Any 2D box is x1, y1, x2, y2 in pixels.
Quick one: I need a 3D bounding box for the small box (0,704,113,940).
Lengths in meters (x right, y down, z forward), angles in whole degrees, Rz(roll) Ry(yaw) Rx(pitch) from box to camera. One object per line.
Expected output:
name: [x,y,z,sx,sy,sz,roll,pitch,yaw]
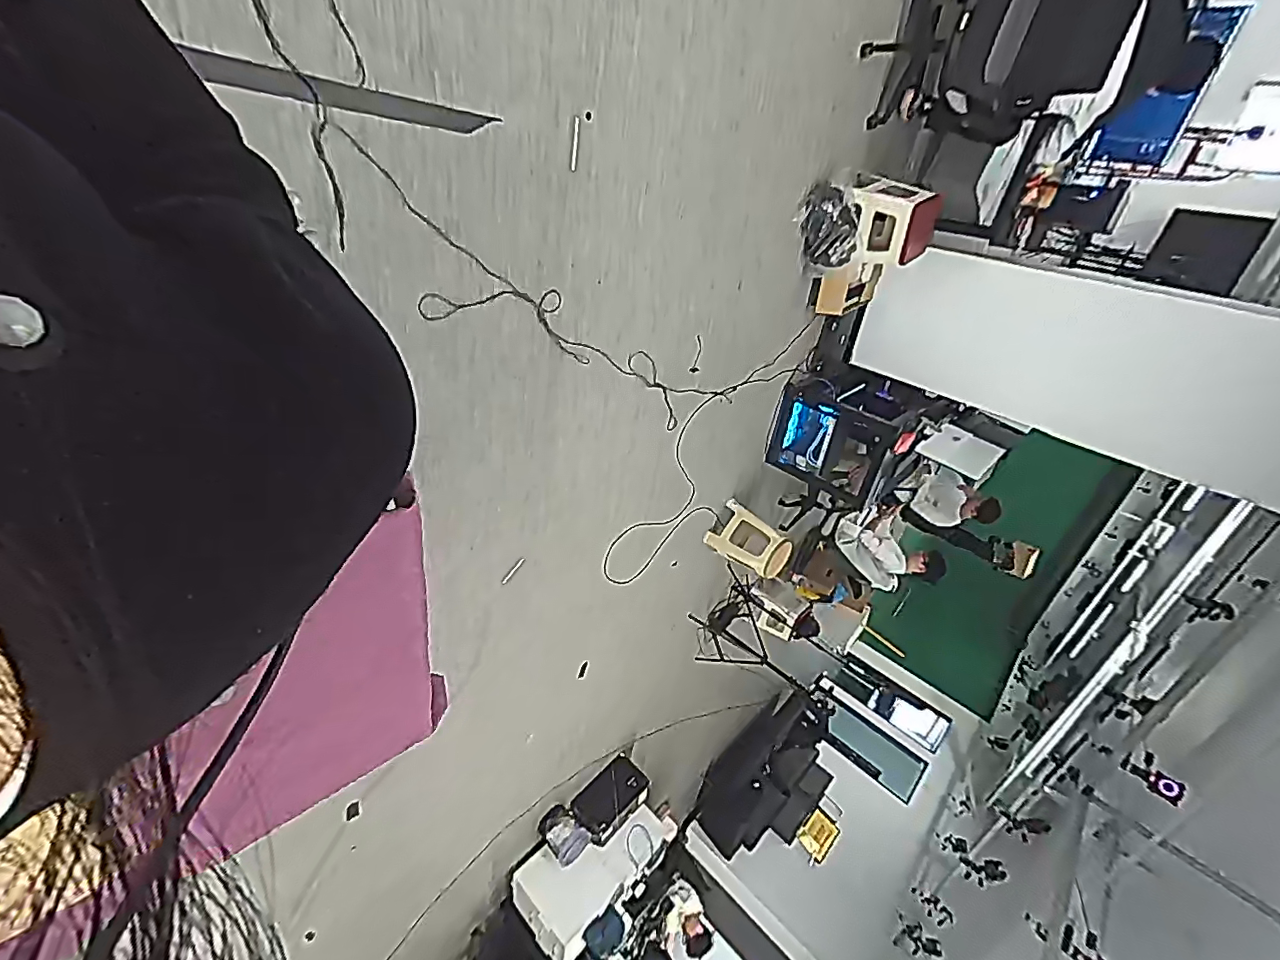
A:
small box: [-0.740,0.397,0.610,0.168,0.176,0.179,-20,132,-45]
